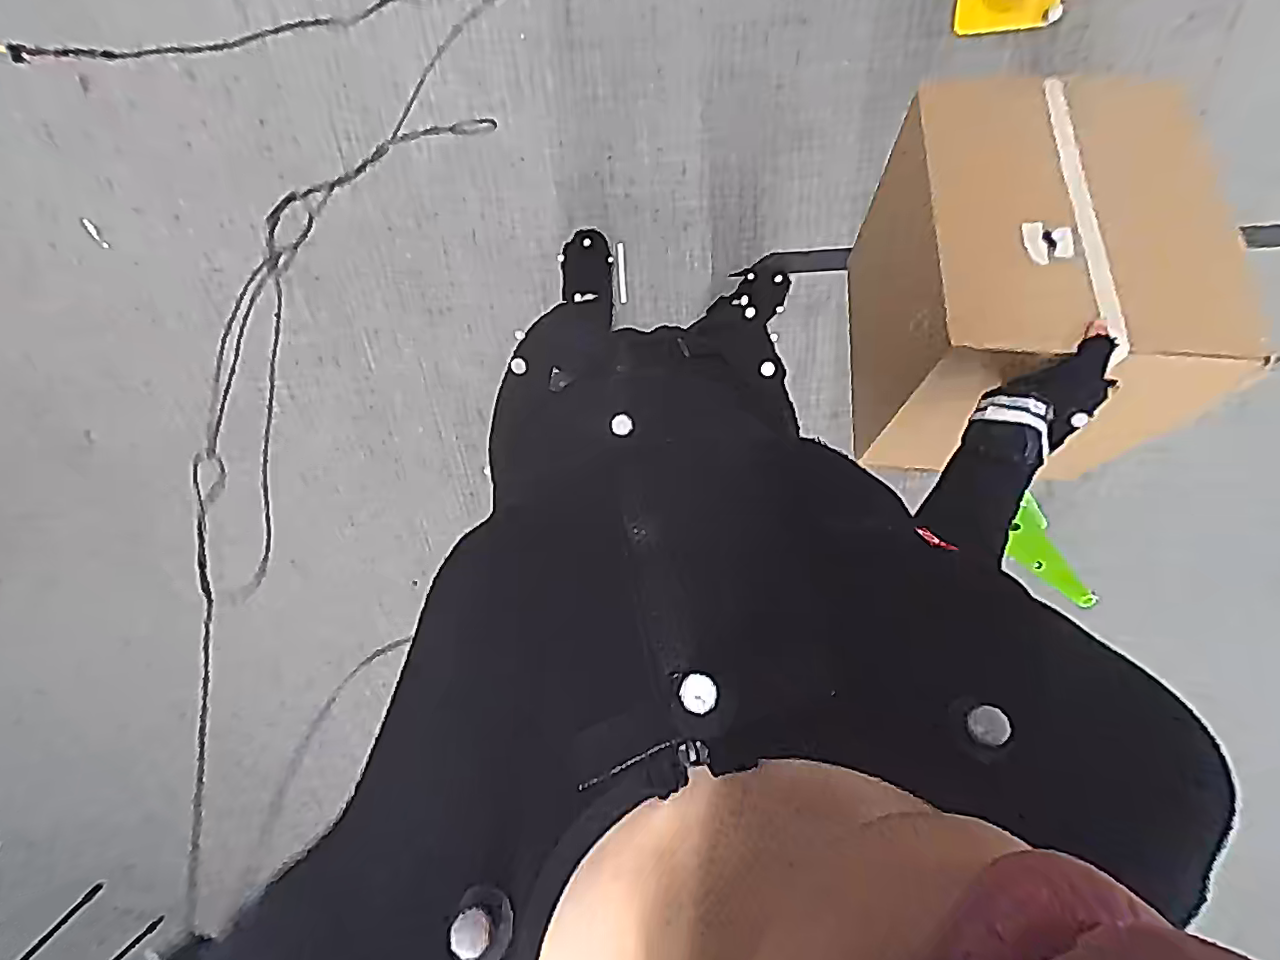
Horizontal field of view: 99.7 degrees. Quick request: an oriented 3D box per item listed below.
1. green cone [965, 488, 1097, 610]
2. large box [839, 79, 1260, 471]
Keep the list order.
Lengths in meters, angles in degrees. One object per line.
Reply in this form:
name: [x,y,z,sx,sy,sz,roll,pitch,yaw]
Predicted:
green cone: [1.131,0.222,1.524,0.200,0.368,0.202,-37,115,20]
large box: [0.482,-0.260,0.748,0.320,0.408,0.320,4,160,5]
